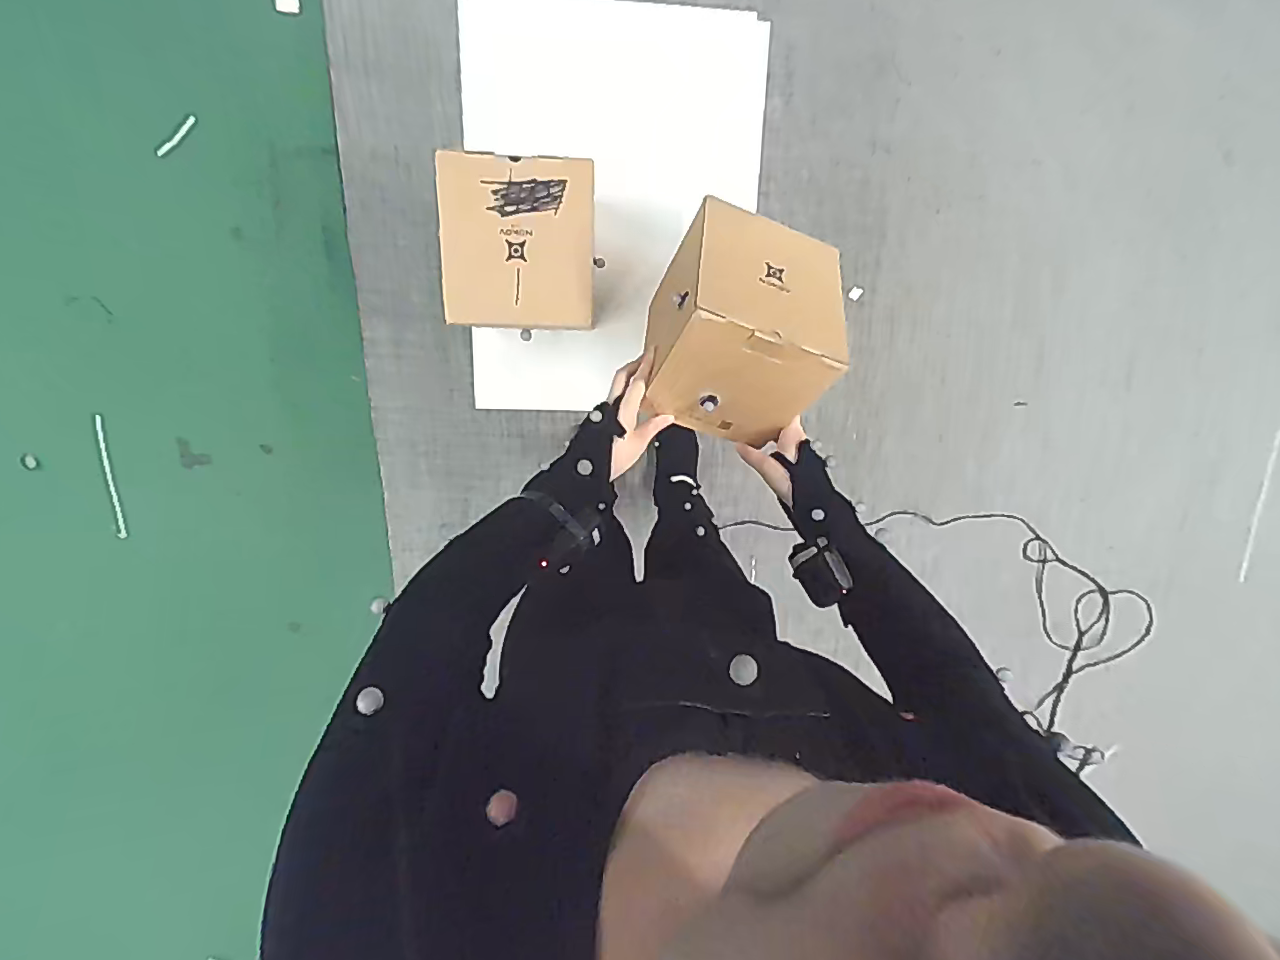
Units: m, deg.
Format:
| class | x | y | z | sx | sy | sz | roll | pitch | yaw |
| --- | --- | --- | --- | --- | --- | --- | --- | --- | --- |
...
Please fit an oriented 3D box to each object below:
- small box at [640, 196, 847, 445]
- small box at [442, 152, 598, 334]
| class | x | y | z | sx | sy | sz | roll | pitch | yaw |
| --- | --- | --- | --- | --- | --- | --- | --- | --- | --- |
| small box | 0.107 | -0.169 | 0.612 | 0.168 | 0.176 | 0.179 | 15 | 60 | -13 |
| small box | -0.137 | -0.275 | 0.668 | 0.168 | 0.176 | 0.179 | 1 | 105 | -5 |
